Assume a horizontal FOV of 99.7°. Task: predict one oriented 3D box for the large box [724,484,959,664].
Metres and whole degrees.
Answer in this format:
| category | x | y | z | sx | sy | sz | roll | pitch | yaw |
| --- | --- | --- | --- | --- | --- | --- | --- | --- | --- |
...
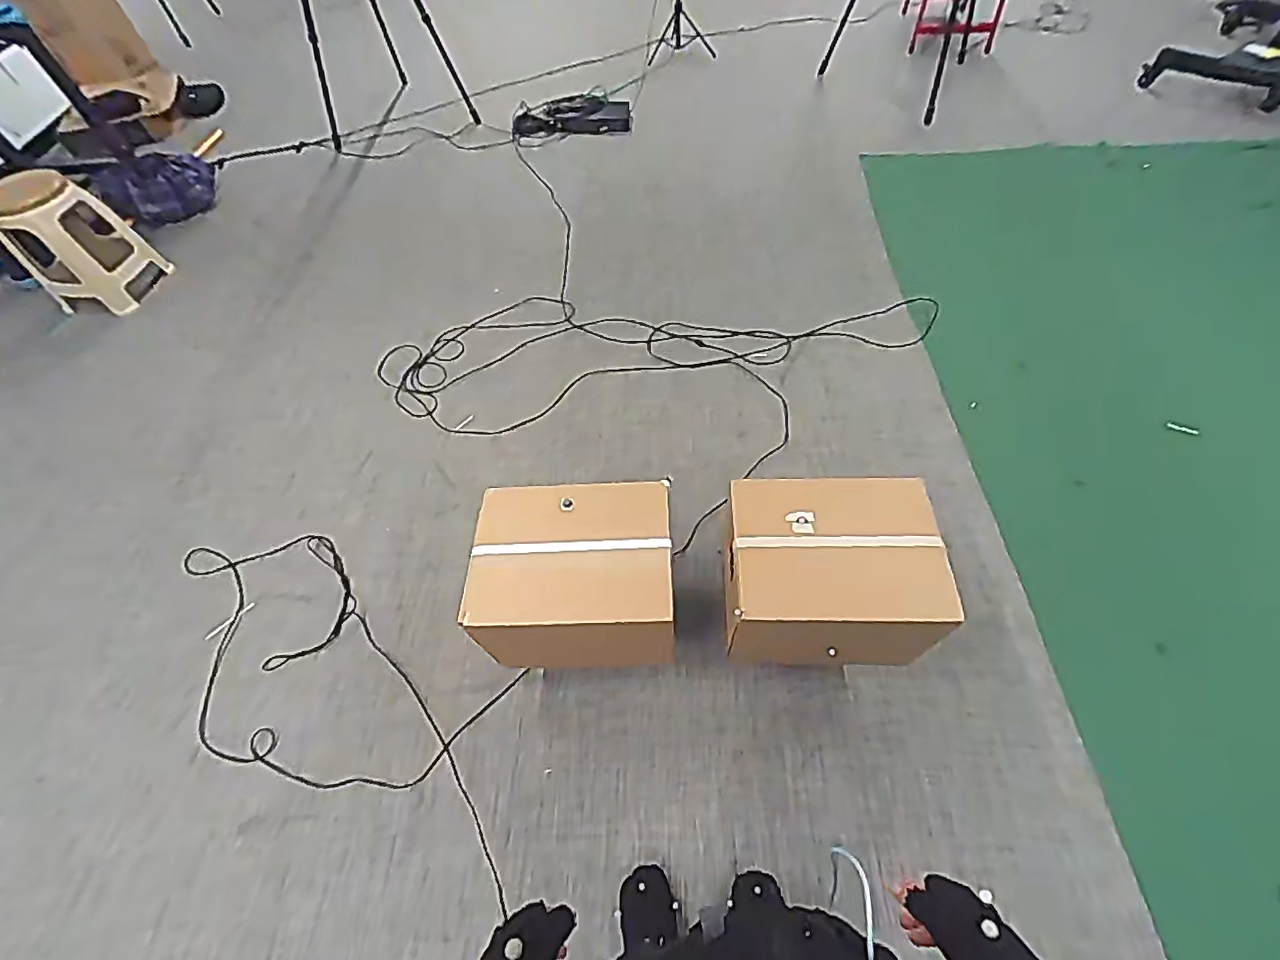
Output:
| category | x | y | z | sx | sy | sz | roll | pitch | yaw |
| --- | --- | --- | --- | --- | --- | --- | --- | --- | --- |
| large box | 0.406 | 0.221 | 1.210 | 0.408 | 0.320 | 0.320 | -1 | 56 | 4 |
